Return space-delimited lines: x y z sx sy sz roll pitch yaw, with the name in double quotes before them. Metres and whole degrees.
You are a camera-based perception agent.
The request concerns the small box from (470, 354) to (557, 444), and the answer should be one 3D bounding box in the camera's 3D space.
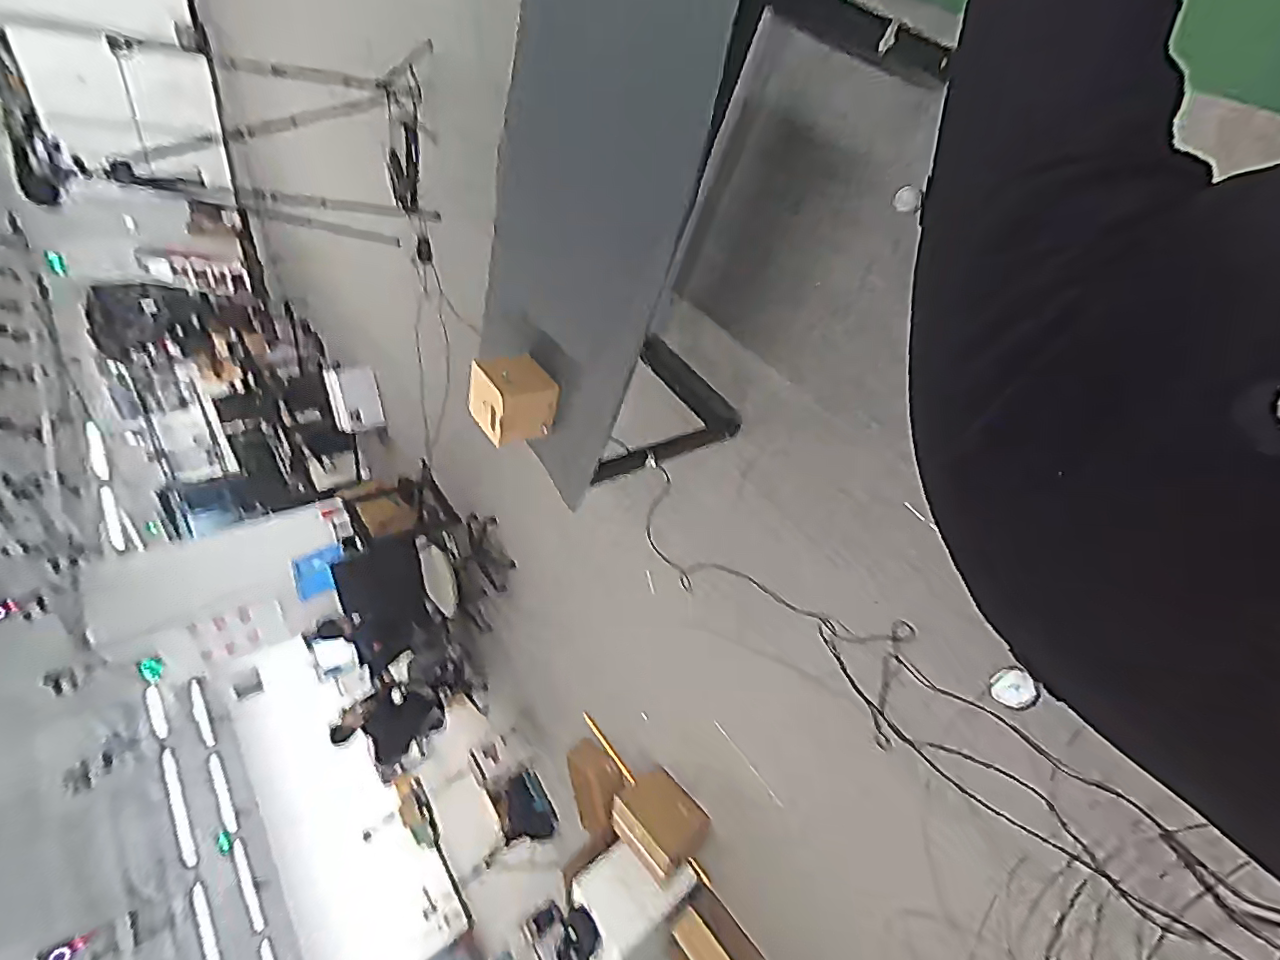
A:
"small box" -0.345 -0.229 1.476 0.179 0.176 0.168 47 137 29
